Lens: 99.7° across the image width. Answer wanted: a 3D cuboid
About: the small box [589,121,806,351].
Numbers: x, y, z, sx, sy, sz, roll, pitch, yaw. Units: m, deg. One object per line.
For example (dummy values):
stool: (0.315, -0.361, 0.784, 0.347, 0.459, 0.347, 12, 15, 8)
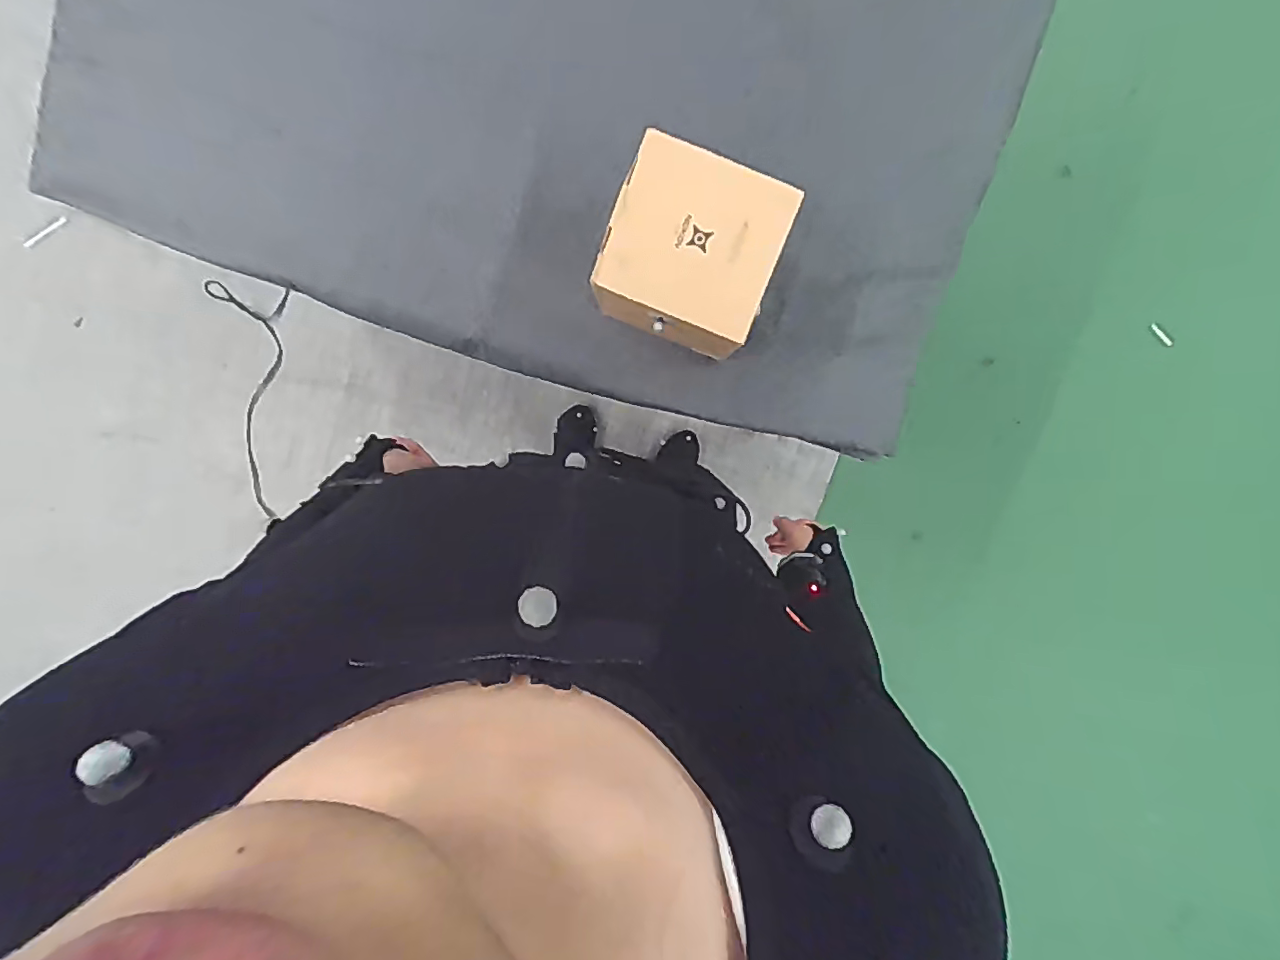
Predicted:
small box: (0.057, -0.259, 0.622, 0.179, 0.176, 0.168, 21, 97, -2)
